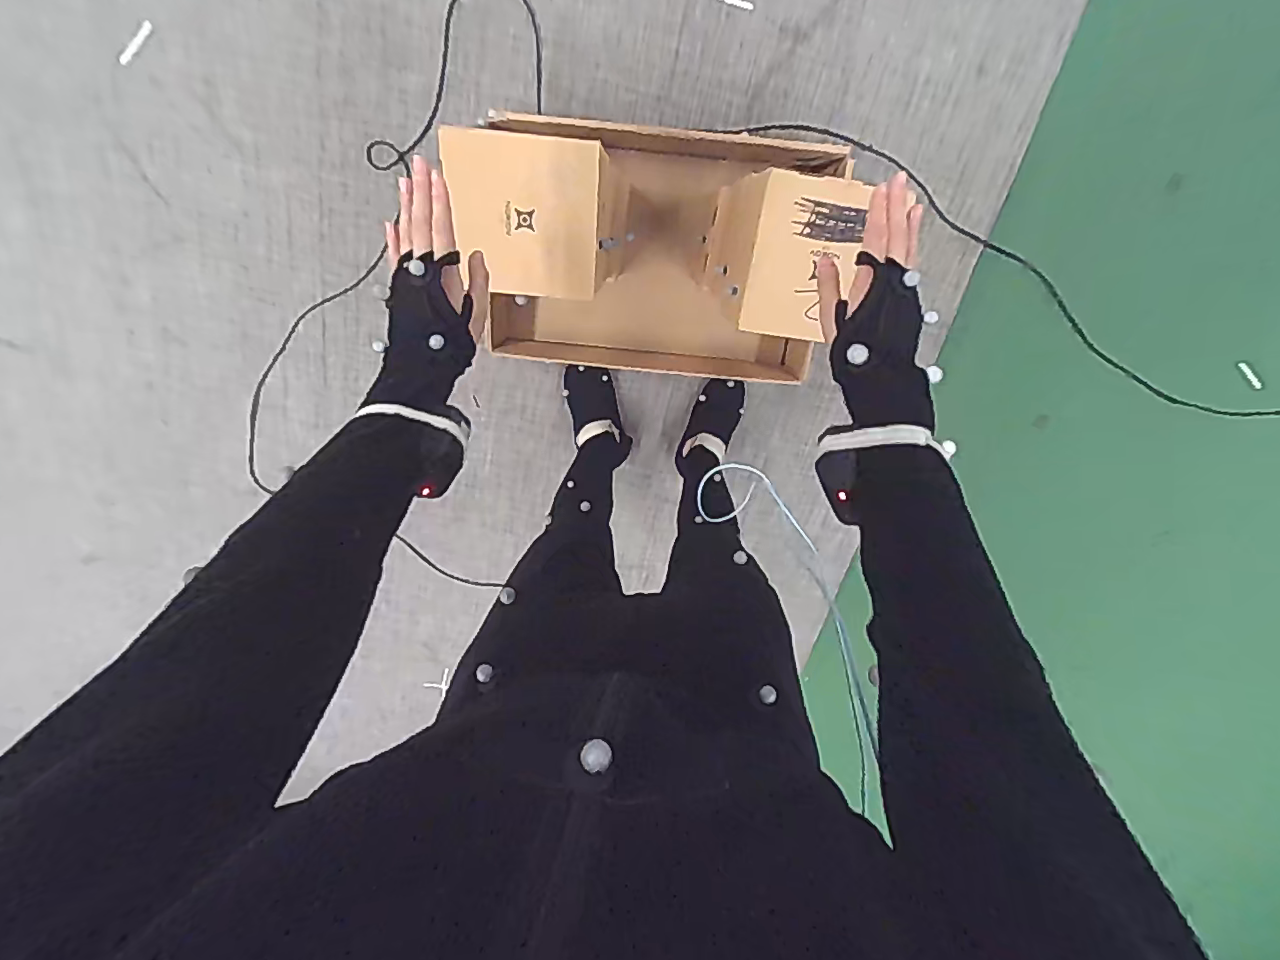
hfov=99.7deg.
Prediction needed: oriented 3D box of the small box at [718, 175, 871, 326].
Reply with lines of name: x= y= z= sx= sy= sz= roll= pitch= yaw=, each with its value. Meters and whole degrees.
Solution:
small box: x=0.224 y=-0.354 z=0.841 sx=0.168 sy=0.176 sz=0.179 roll=9 pitch=113 yaw=-4

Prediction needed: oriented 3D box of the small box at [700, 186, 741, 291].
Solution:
small box: x=0.212 y=-0.424 z=0.990 sx=0.179 sy=0.176 sz=0.168 roll=10 pitch=114 yaw=-3

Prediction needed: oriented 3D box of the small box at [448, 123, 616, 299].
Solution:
small box: x=-0.124 y=-0.333 z=0.680 sx=0.179 sy=0.176 sz=0.168 roll=5 pitch=116 yaw=-1
